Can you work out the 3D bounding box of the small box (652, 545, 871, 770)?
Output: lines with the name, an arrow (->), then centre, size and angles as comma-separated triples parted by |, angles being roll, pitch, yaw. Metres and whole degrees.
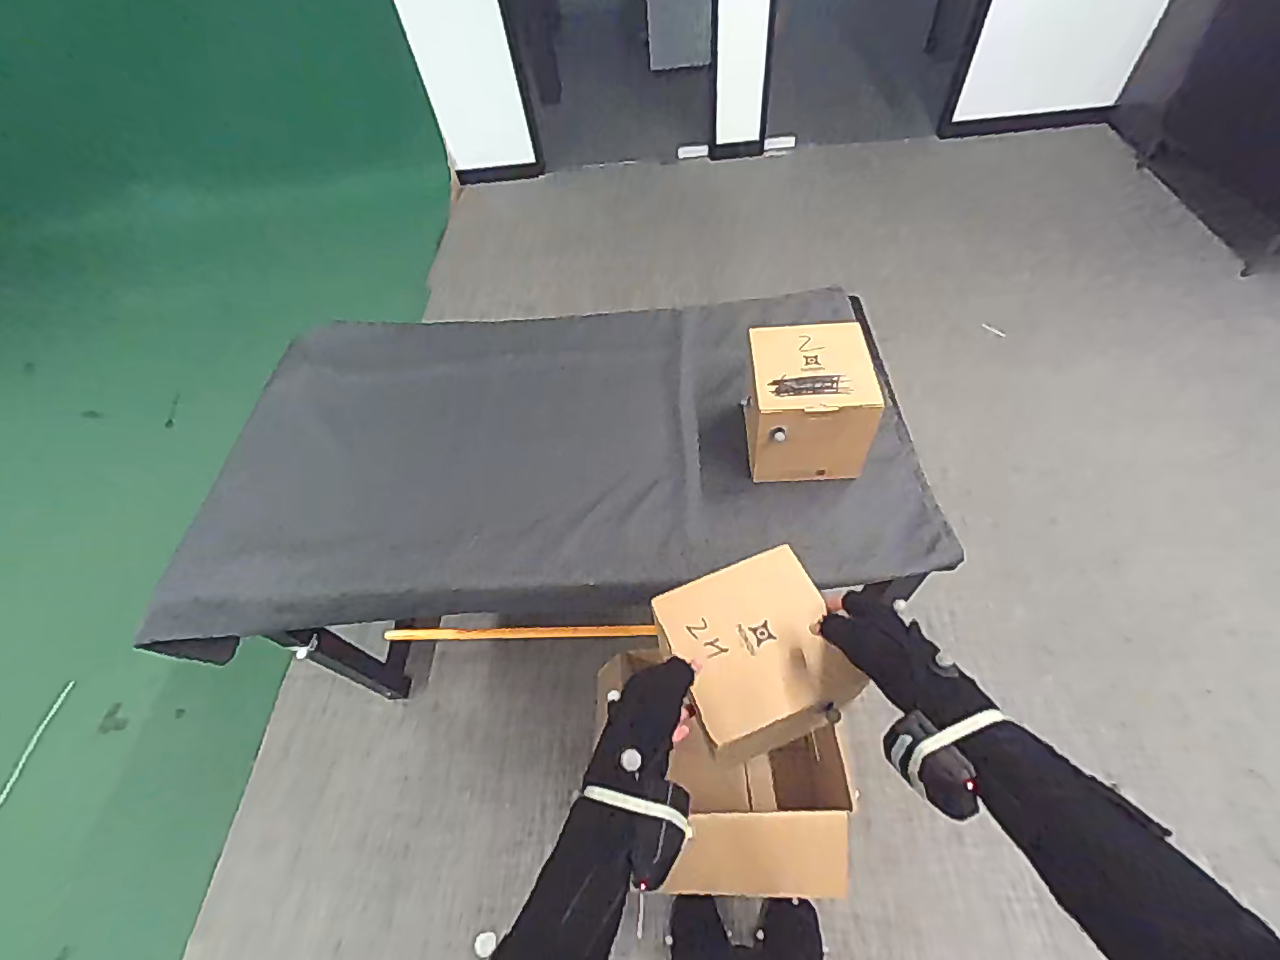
small box -> 0.127, 0.208, 0.625 | 0.179, 0.176, 0.168 | -21, 53, -7
